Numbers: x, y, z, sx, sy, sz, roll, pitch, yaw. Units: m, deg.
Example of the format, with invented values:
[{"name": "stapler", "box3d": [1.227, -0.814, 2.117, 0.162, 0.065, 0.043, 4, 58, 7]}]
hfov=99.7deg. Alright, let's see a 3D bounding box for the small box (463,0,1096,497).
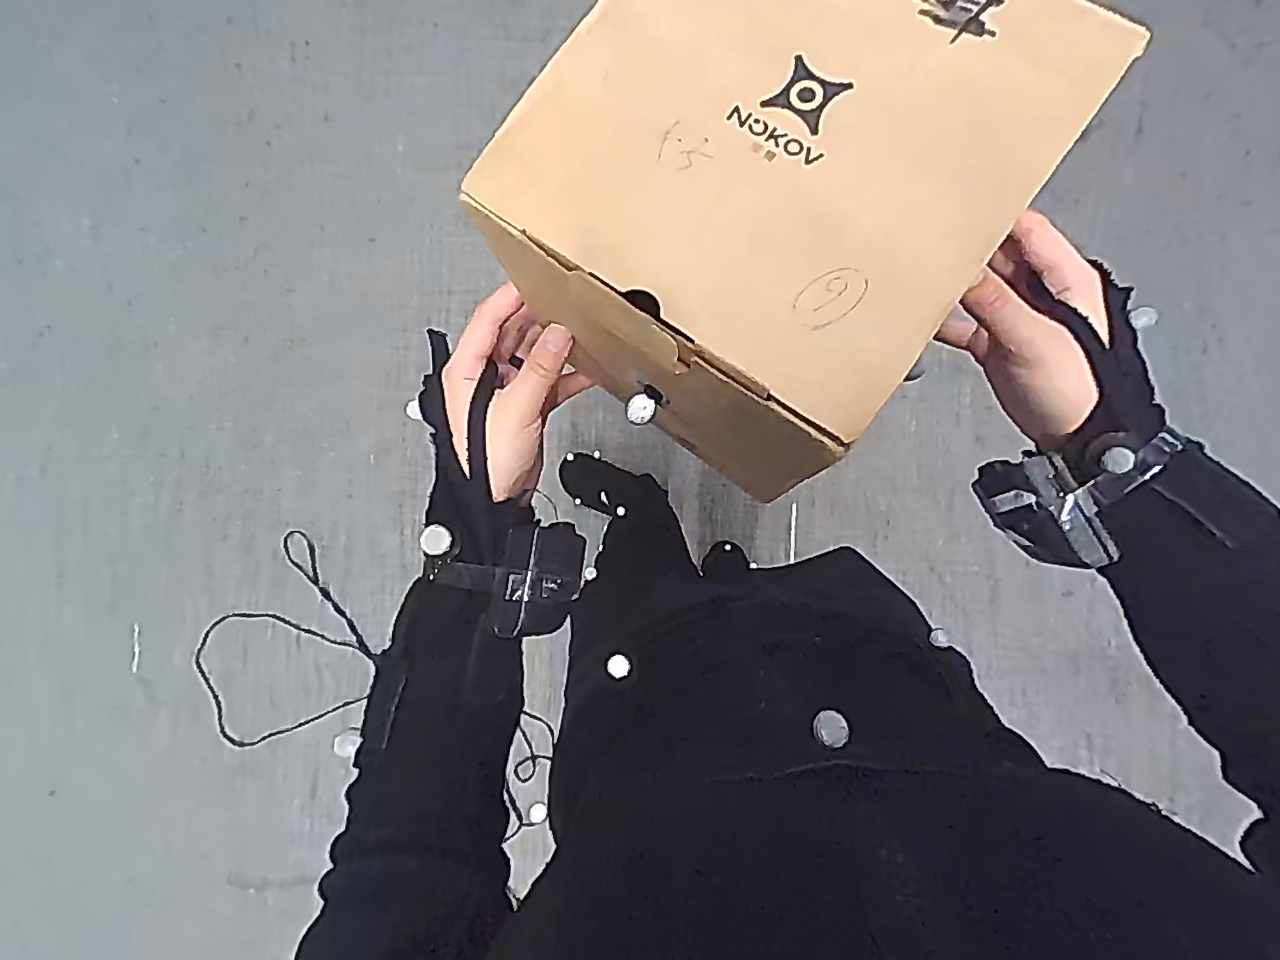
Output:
[{"name": "small box", "box3d": [0.054, -0.108, 0.275, 0.168, 0.176, 0.179, 37, 86, 9]}]
